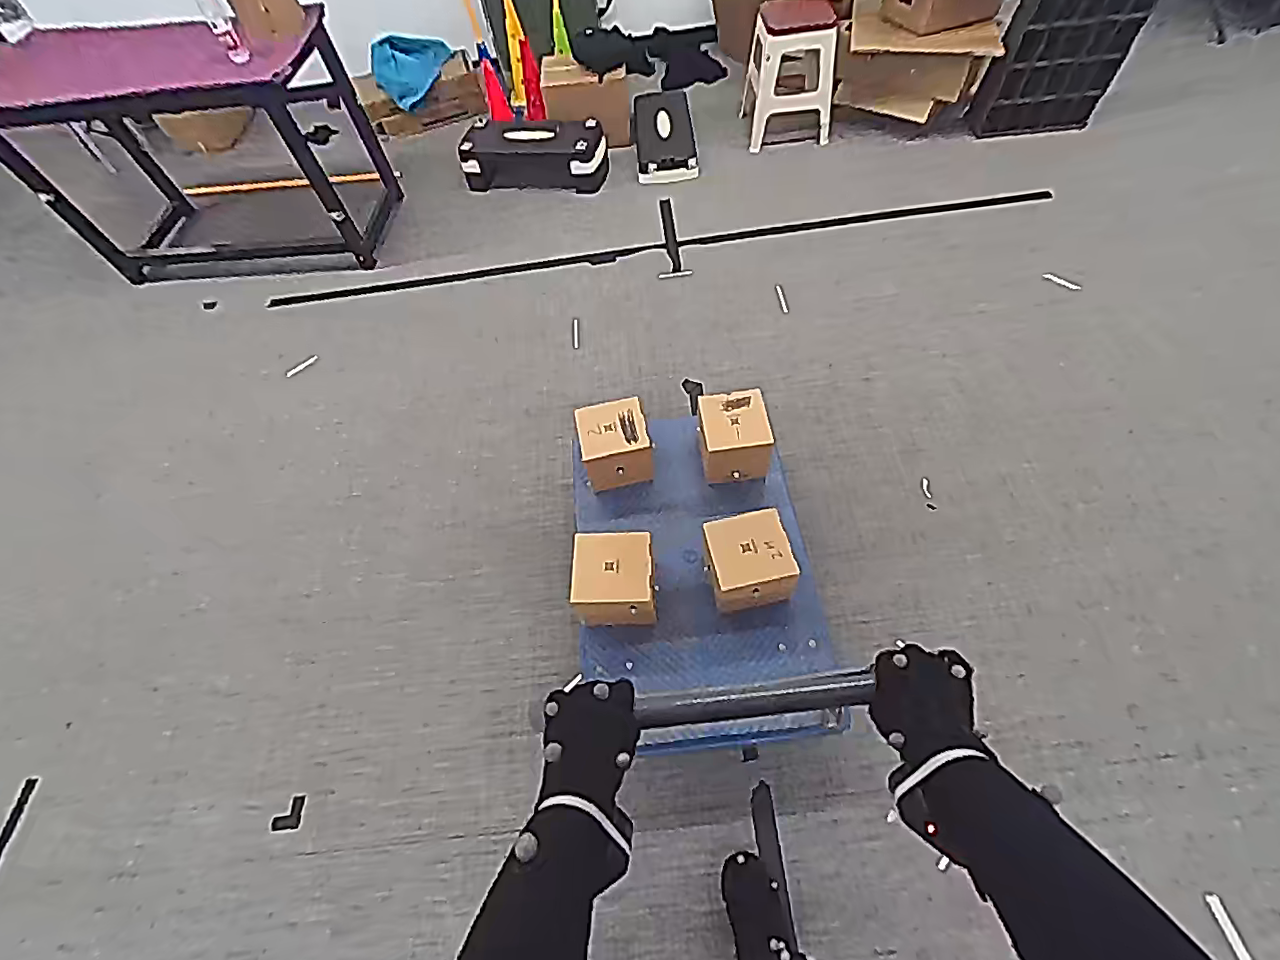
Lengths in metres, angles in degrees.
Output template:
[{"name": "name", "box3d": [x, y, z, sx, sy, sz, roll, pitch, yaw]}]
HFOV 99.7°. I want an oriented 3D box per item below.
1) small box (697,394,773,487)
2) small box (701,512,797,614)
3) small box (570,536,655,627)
[{"name": "small box", "box3d": [0.244, -0.103, 1.439, 0.168, 0.176, 0.179, -7, 60, 1]}, {"name": "small box", "box3d": [0.246, 0.199, 1.258, 0.179, 0.176, 0.168, -12, 59, -1]}, {"name": "small box", "box3d": [-0.058, 0.242, 1.264, 0.179, 0.176, 0.168, -2, 59, 3]}]
